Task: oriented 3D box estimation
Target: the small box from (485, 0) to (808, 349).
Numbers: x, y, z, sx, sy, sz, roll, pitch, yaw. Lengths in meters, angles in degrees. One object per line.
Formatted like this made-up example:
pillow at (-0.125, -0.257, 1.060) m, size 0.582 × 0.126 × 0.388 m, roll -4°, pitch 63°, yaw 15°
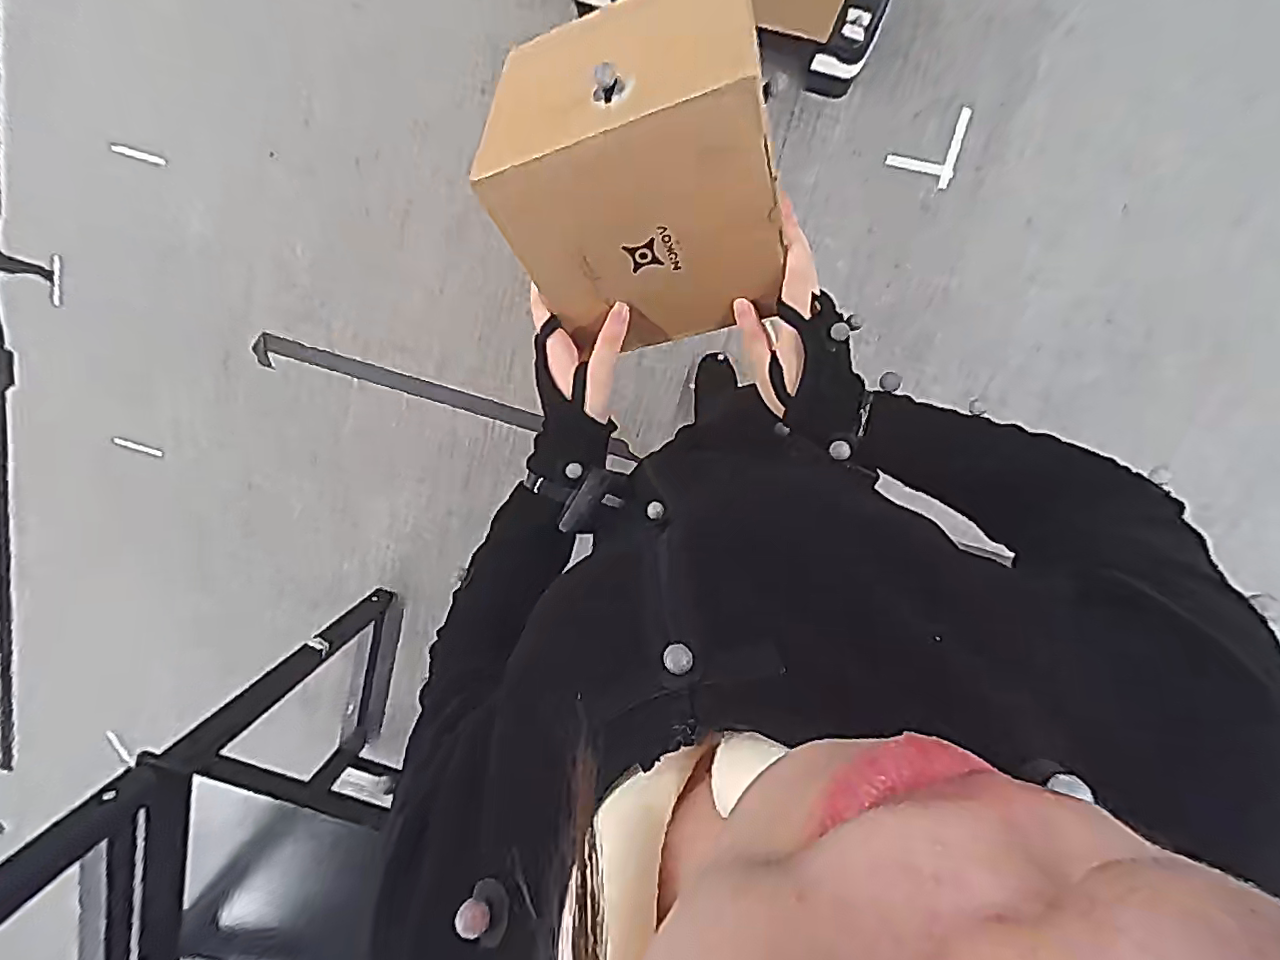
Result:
small box at (0.017, -0.227, 0.391) m, size 0.179 × 0.168 × 0.176 m, roll -7°, pitch 59°, yaw 18°
